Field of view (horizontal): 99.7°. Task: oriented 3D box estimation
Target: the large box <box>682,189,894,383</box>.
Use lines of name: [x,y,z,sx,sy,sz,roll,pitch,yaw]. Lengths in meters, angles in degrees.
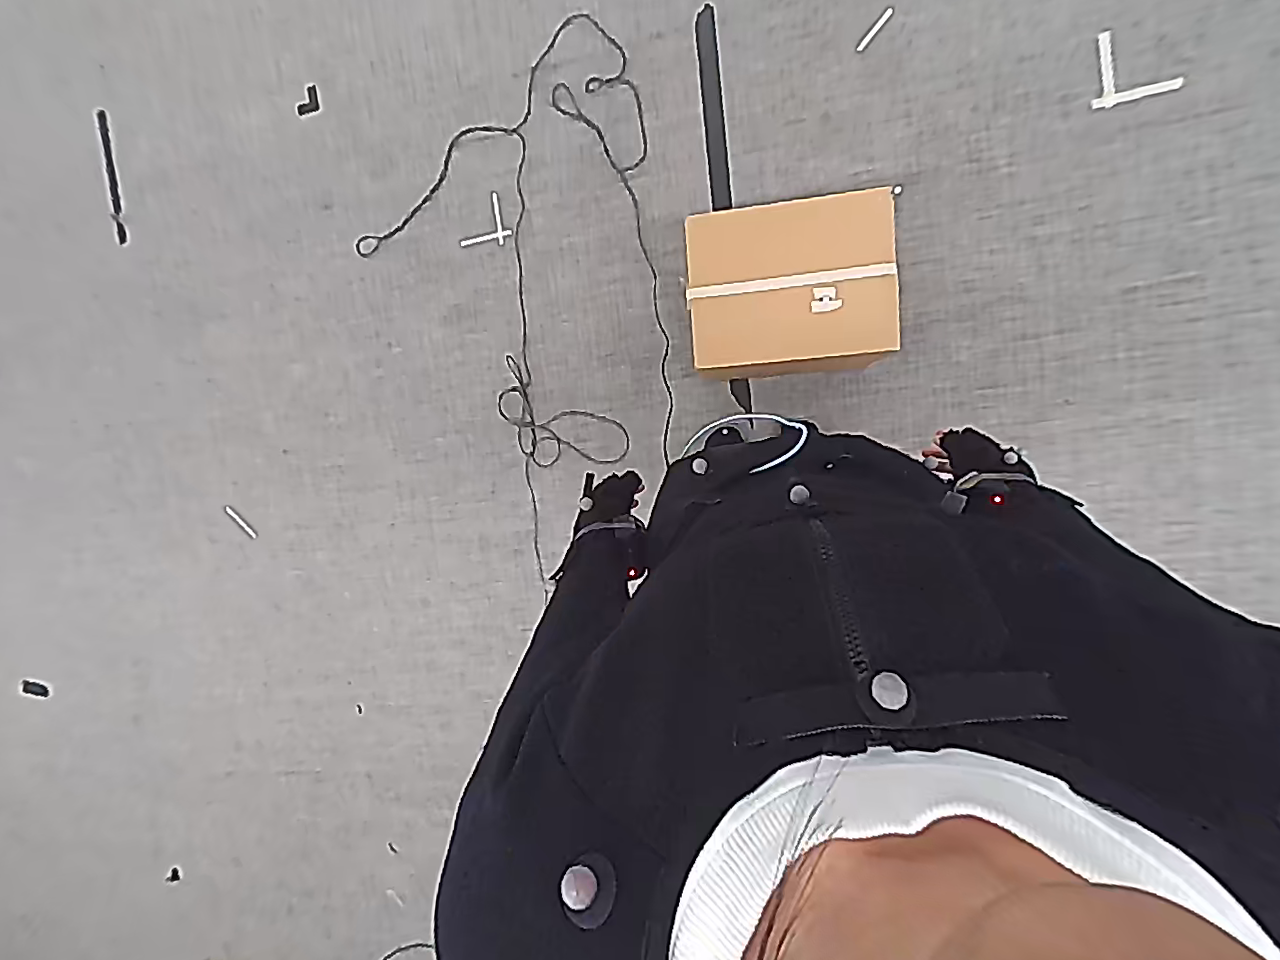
large box: [0.318,-0.411,1.239,0.408,0.320,0.320,-4,95,10]
